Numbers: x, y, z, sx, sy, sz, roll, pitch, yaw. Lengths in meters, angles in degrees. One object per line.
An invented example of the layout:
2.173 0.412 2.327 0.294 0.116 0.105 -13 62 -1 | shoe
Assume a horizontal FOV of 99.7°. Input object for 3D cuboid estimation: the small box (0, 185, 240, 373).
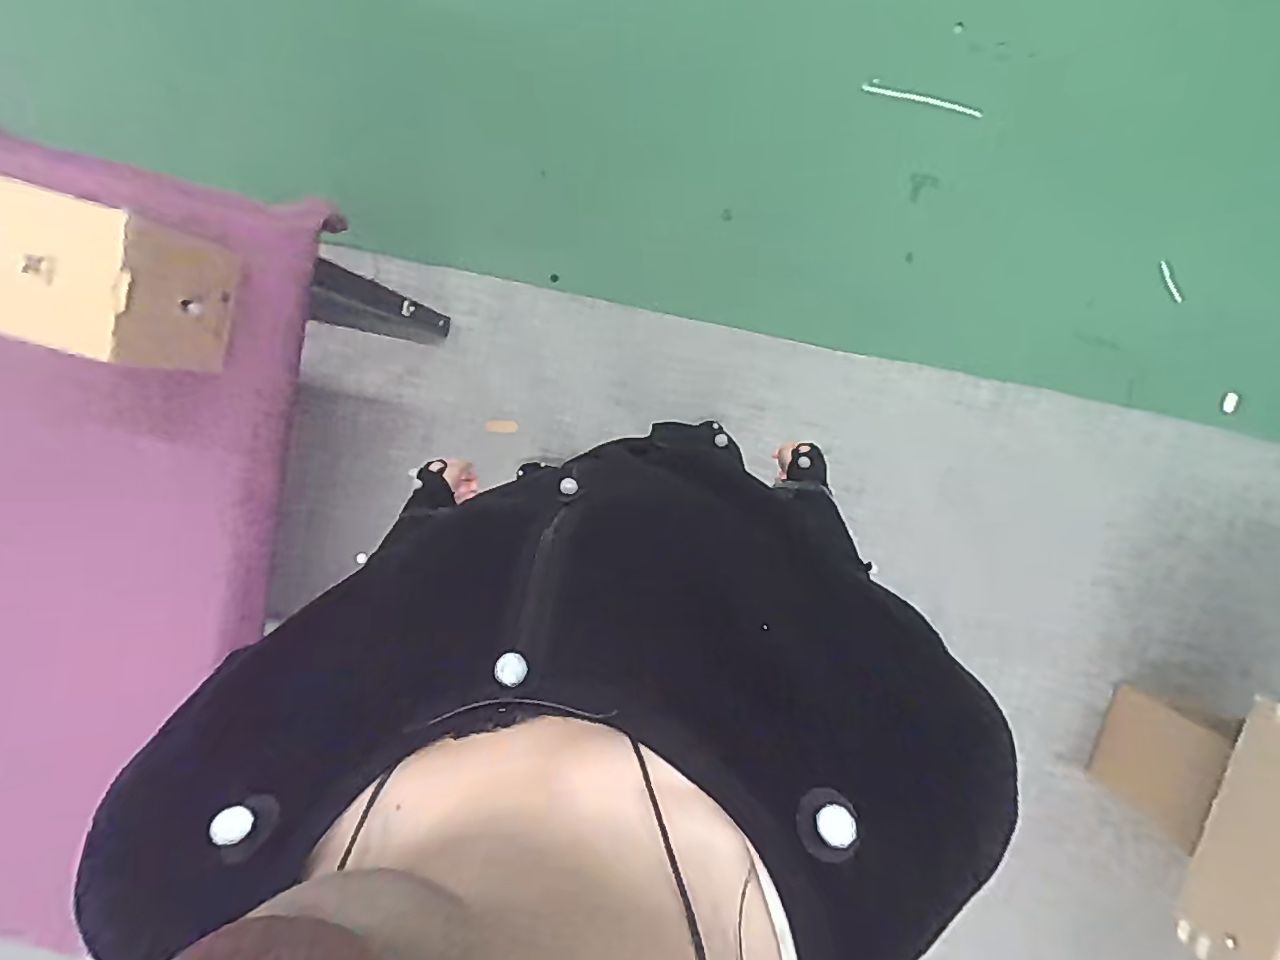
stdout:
-0.652 -0.235 0.677 0.179 0.176 0.168 16 98 -3 | small box
